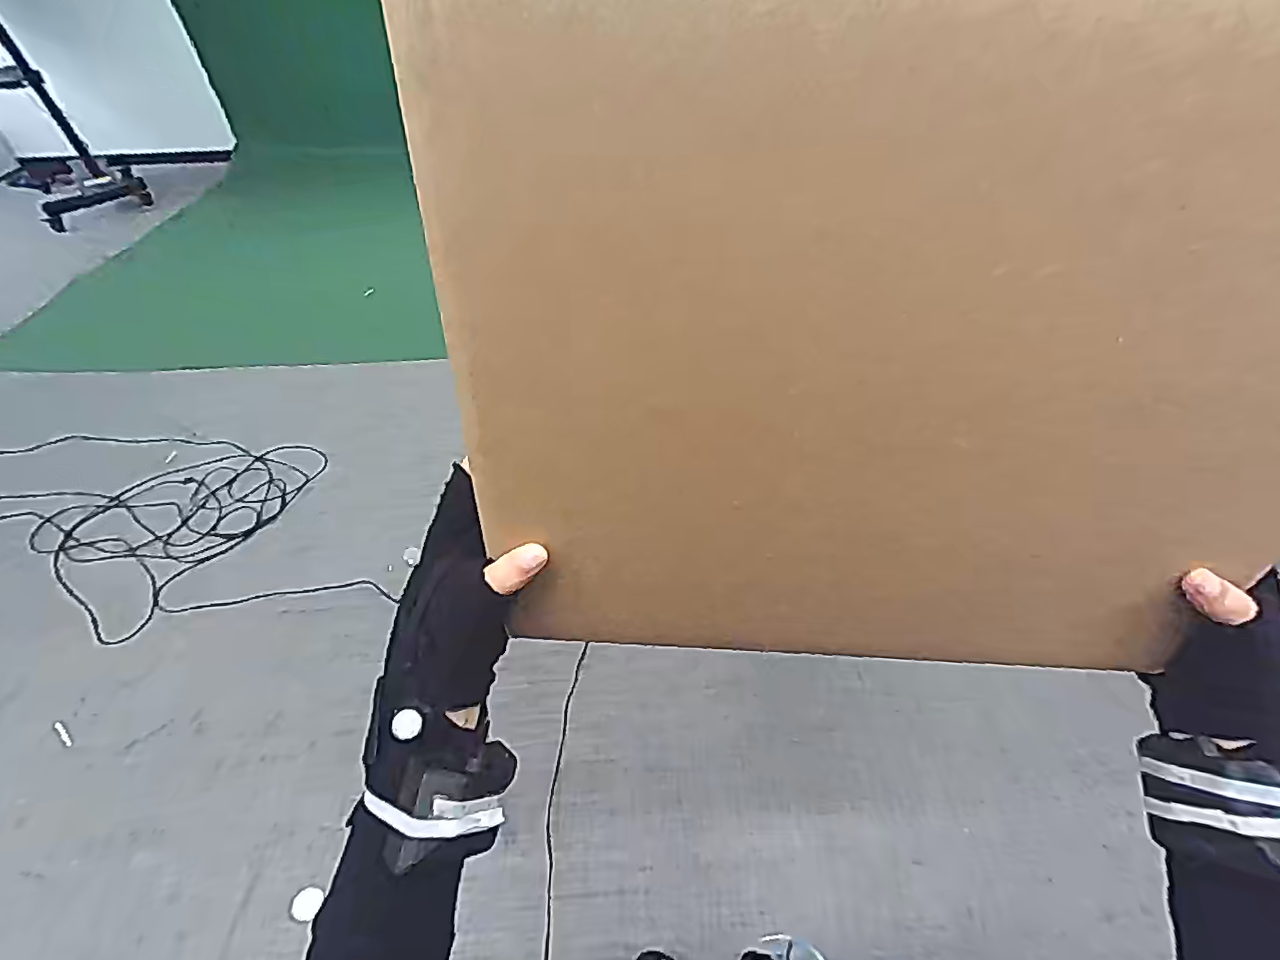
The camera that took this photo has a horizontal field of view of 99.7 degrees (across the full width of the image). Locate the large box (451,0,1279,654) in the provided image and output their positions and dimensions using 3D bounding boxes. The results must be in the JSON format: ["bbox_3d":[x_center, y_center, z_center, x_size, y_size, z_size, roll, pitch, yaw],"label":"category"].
[{"bbox_3d":[0.131,-0.104,0.364,0.408,0.320,0.320,3,38,-1],"label":"large box"}]
